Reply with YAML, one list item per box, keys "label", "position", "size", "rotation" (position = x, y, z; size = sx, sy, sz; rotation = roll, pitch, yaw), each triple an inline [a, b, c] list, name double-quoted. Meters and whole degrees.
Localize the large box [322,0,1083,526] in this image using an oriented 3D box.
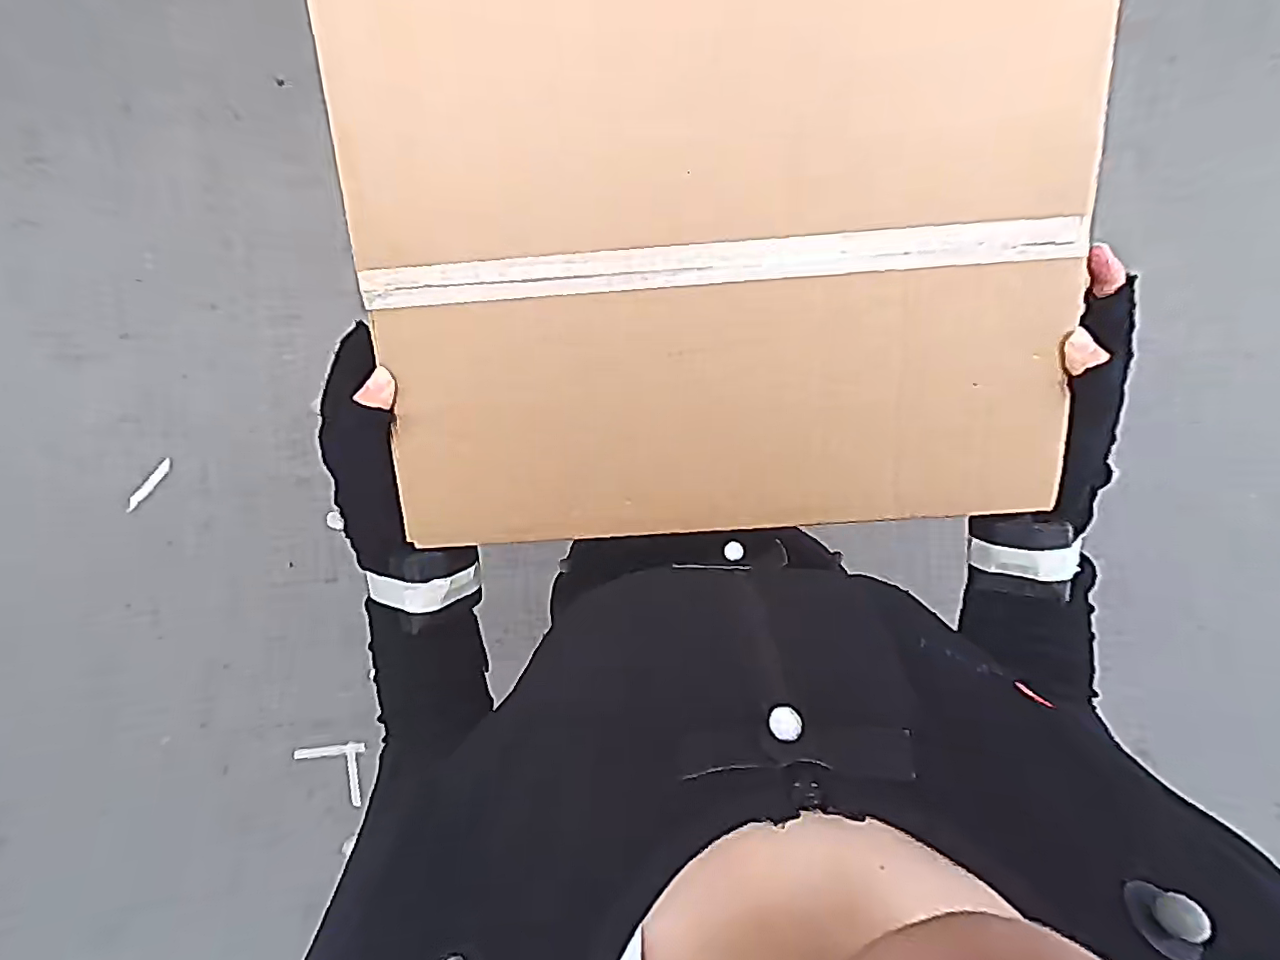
- label: "large box"
  position: [0.040, -0.168, 0.457]
  size: [0.408, 0.320, 0.320]
  rotation: [-4, 105, 1]
